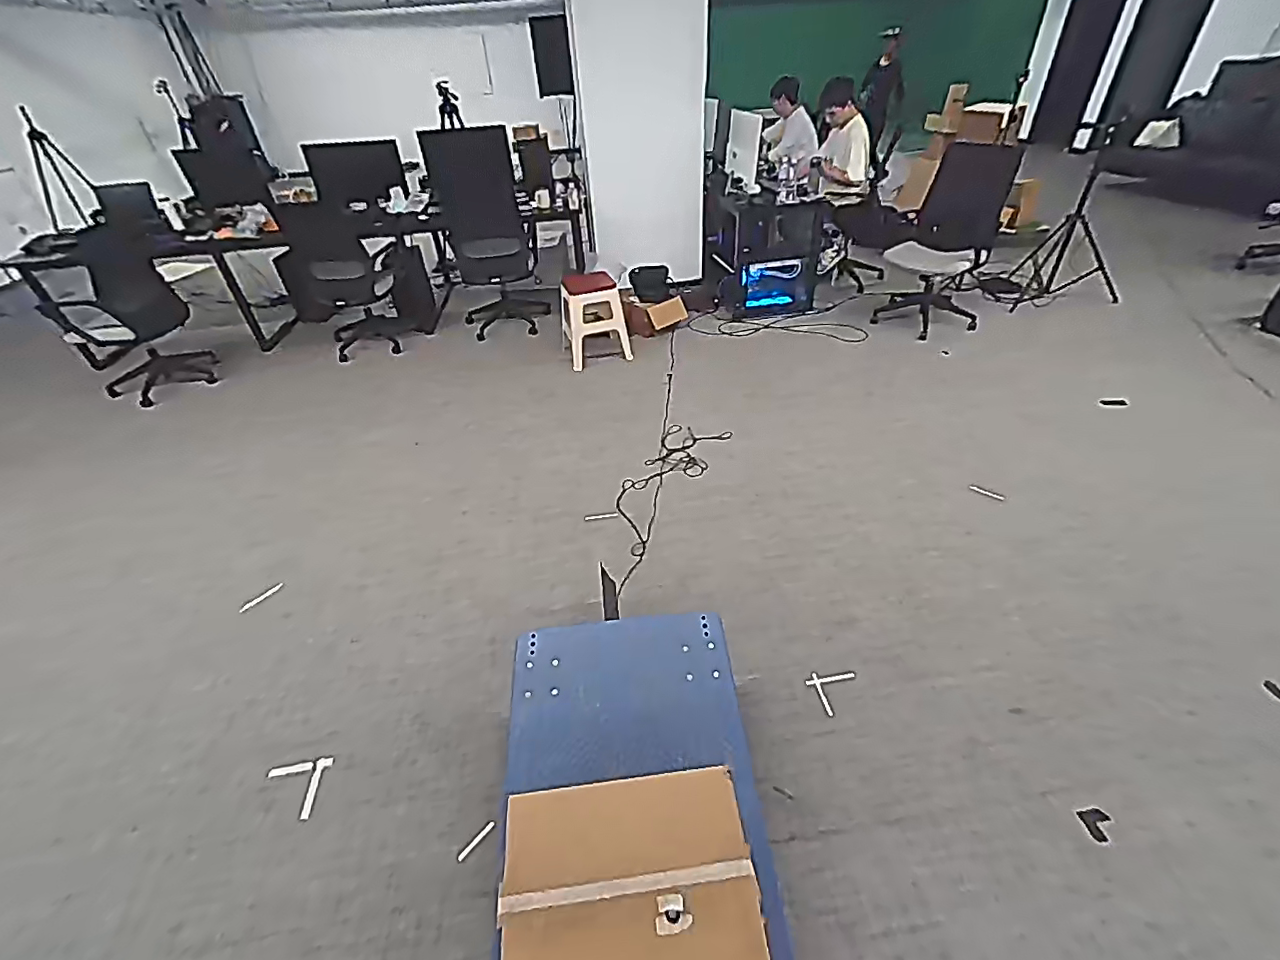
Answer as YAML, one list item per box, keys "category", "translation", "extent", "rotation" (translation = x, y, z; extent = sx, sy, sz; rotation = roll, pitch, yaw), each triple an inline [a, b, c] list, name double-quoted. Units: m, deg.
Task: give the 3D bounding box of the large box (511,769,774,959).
- category: "large box"
  translation: [-0.005, 0.770, 0.989]
  extent: [0.408, 0.320, 0.320]
  rotation: [-7, 47, -3]
